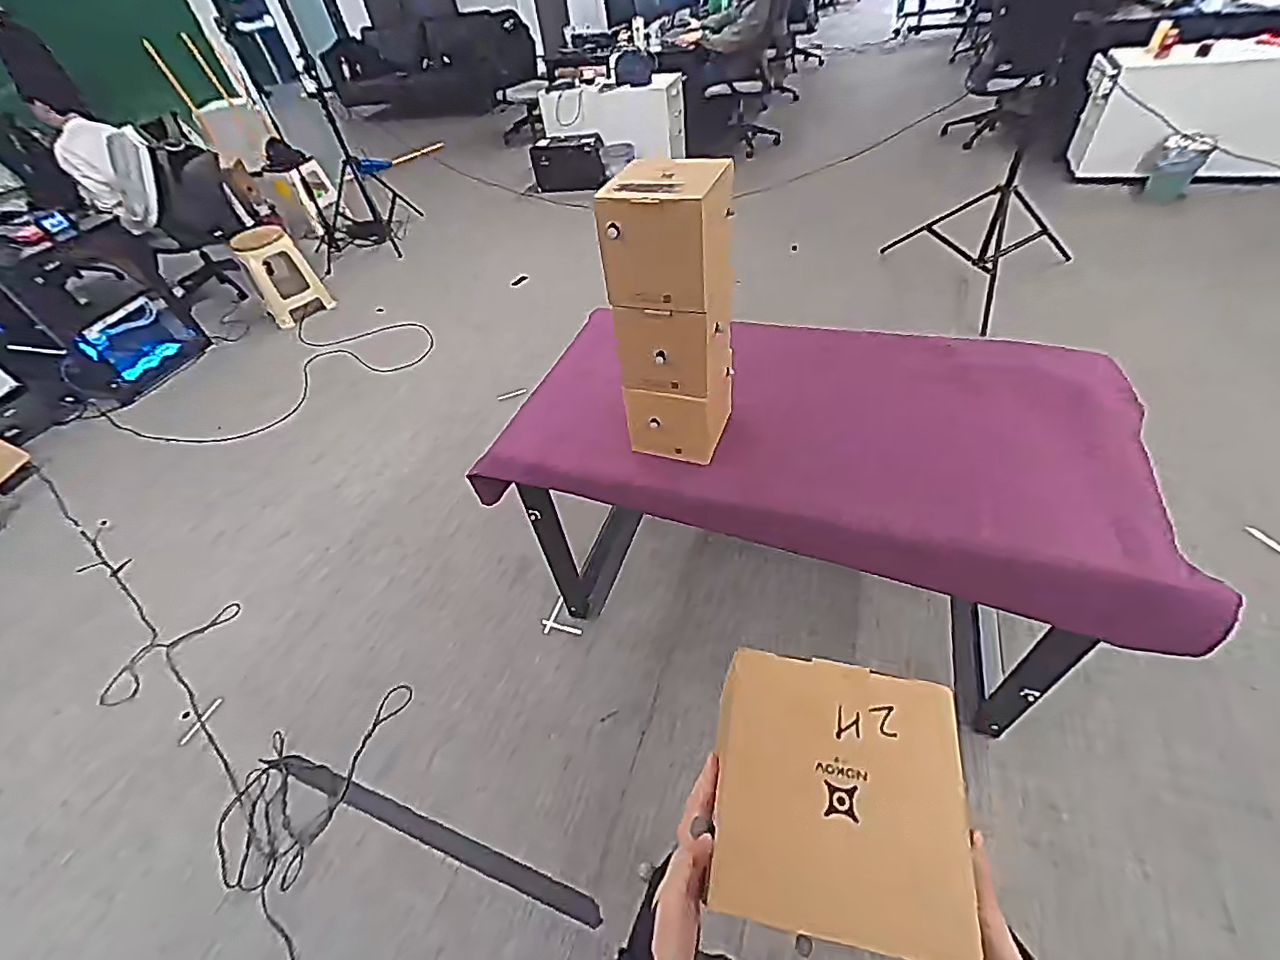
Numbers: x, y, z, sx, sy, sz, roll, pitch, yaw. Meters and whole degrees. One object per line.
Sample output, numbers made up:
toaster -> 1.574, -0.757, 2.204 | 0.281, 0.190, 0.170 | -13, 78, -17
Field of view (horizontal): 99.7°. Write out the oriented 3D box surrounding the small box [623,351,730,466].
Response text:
small box -> 0.082, -0.152, 1.096 | 0.168, 0.176, 0.179 | 12, 49, 19

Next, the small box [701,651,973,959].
small box -> 0.145, 0.269, 0.451 | 0.168, 0.176, 0.179 | 8, 55, 8

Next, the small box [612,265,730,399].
small box -> 0.065, -0.268, 0.982 | 0.168, 0.176, 0.179 | 11, 49, 17
